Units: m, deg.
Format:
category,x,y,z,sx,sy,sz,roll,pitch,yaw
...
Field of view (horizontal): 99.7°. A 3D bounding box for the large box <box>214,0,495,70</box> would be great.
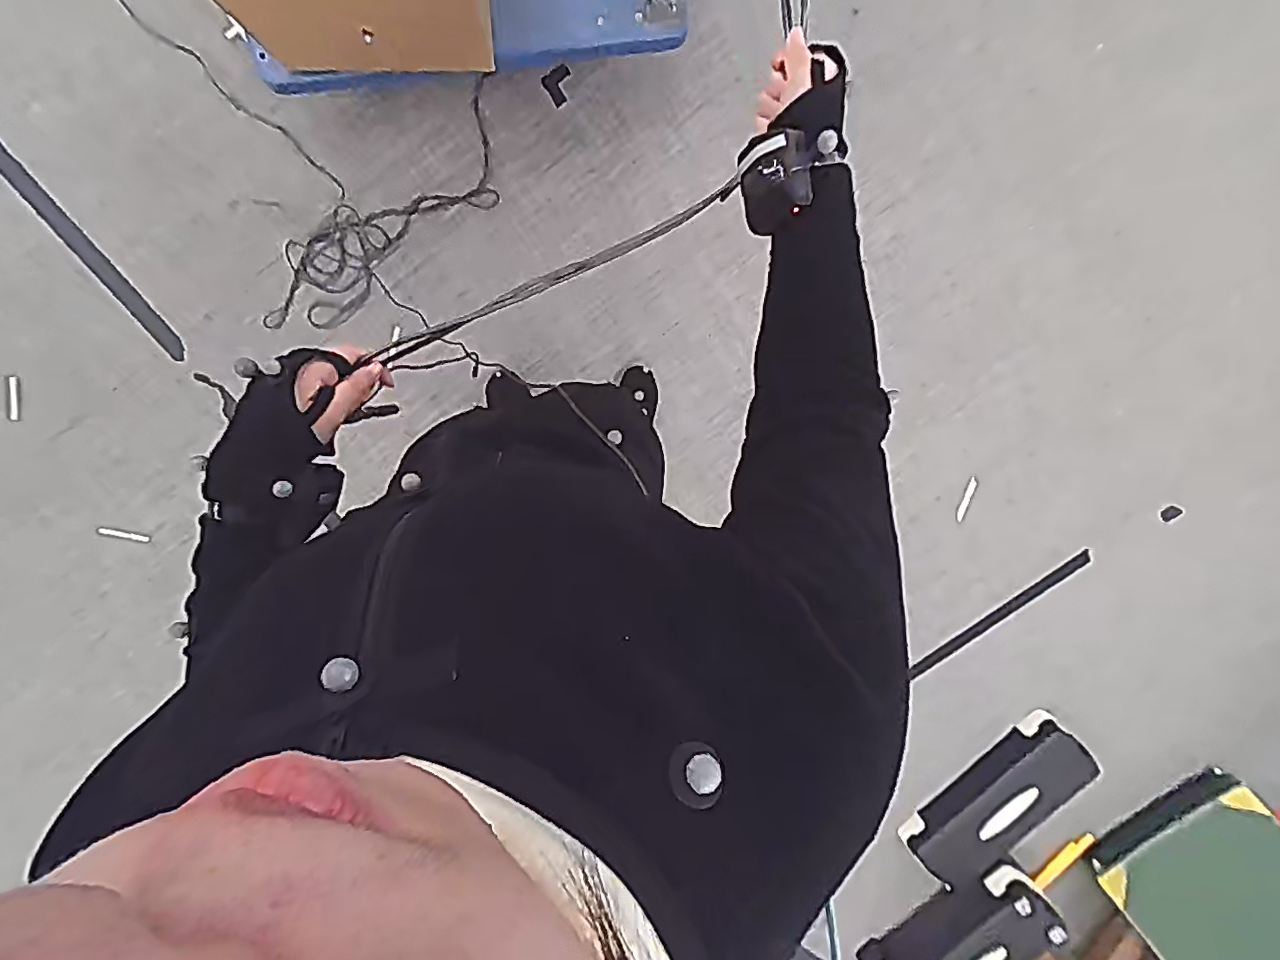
category,x,y,z,sx,sy,sz,roll,pitch,yaw
large box,-0.482,-0.924,0.887,0.408,0.320,0.320,-4,104,-4
